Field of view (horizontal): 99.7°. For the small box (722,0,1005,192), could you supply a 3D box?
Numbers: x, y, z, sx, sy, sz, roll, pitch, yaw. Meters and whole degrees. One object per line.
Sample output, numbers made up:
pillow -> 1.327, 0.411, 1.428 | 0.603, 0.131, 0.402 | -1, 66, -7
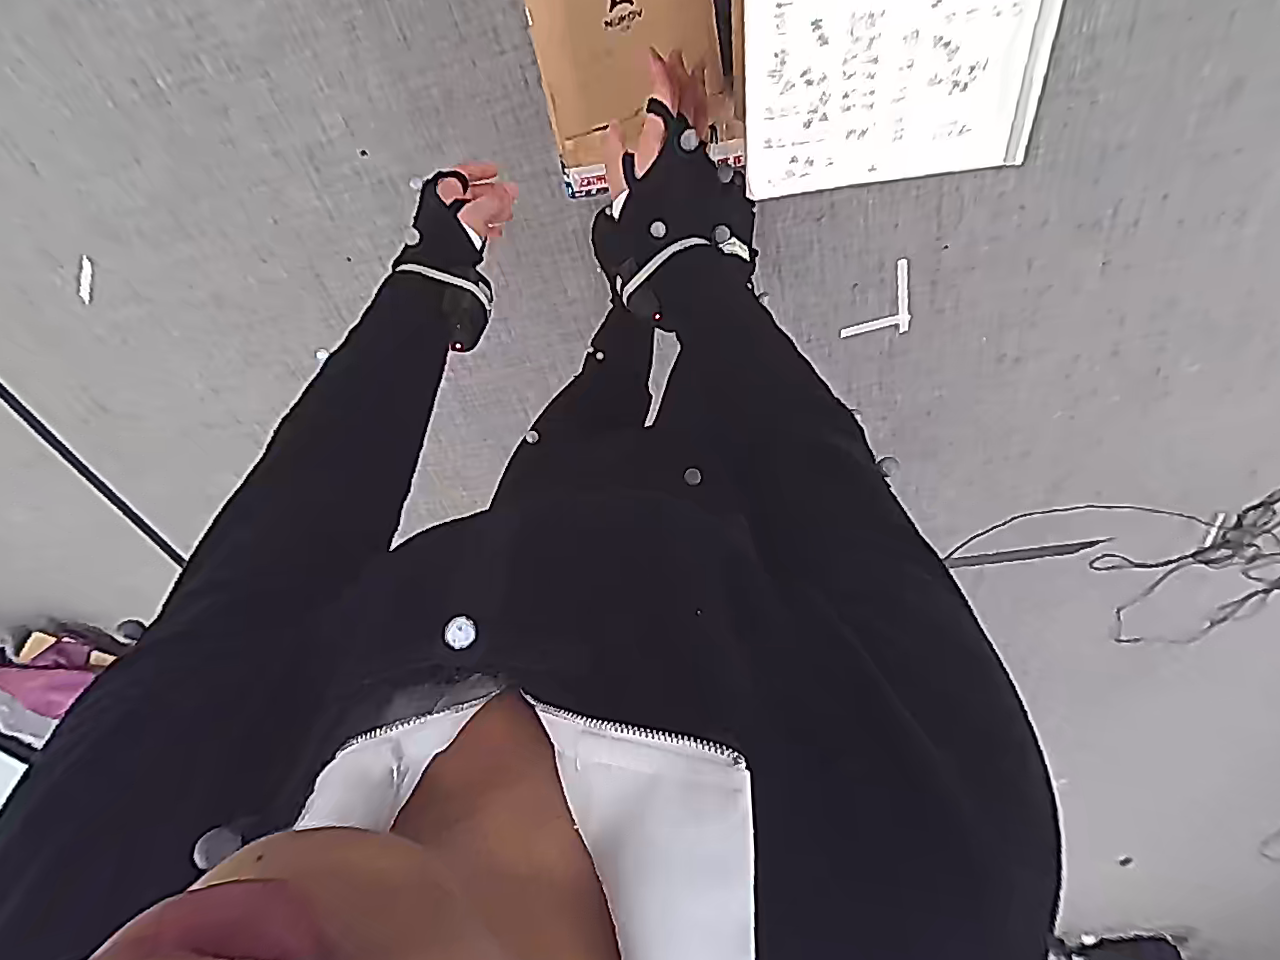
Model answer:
small box -> 0.156, -0.347, 0.425 | 0.168, 0.176, 0.179 | -5, 128, 5
